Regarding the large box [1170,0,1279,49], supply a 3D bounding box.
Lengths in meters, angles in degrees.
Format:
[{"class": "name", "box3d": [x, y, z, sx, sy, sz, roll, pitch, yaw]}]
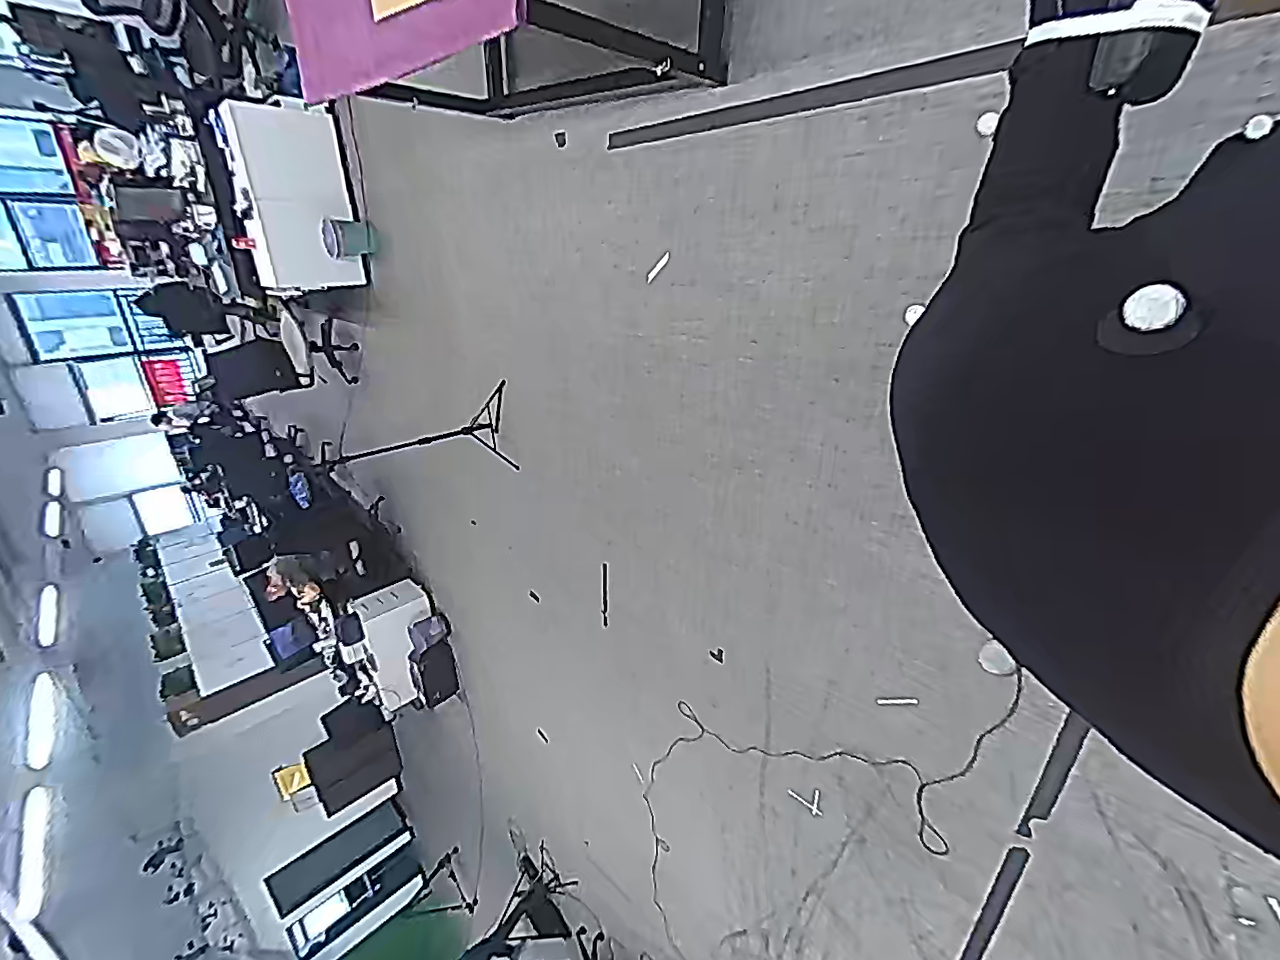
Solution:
[{"class": "large box", "box3d": [0.545, -0.440, 0.229, 0.408, 0.320, 0.320, 21, 125, 38]}]
